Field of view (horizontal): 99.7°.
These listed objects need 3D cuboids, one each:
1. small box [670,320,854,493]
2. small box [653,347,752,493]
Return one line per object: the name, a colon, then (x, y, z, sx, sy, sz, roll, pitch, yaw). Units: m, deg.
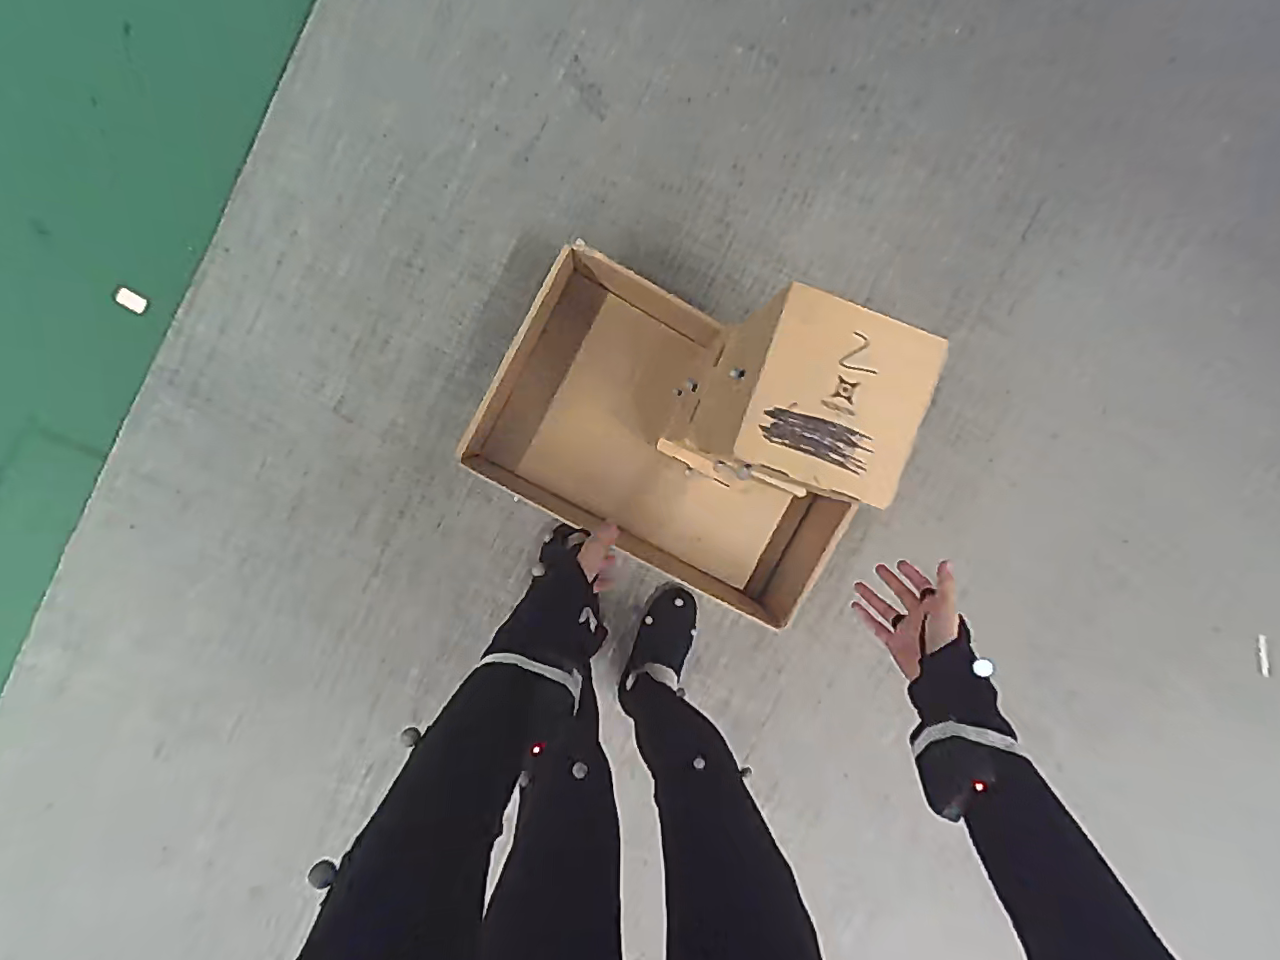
small box: (0.152, -0.095, 0.749, 0.179, 0.176, 0.168, 23, 94, -4)
small box: (0.129, -0.099, 0.912, 0.168, 0.176, 0.179, 28, 94, -4)
